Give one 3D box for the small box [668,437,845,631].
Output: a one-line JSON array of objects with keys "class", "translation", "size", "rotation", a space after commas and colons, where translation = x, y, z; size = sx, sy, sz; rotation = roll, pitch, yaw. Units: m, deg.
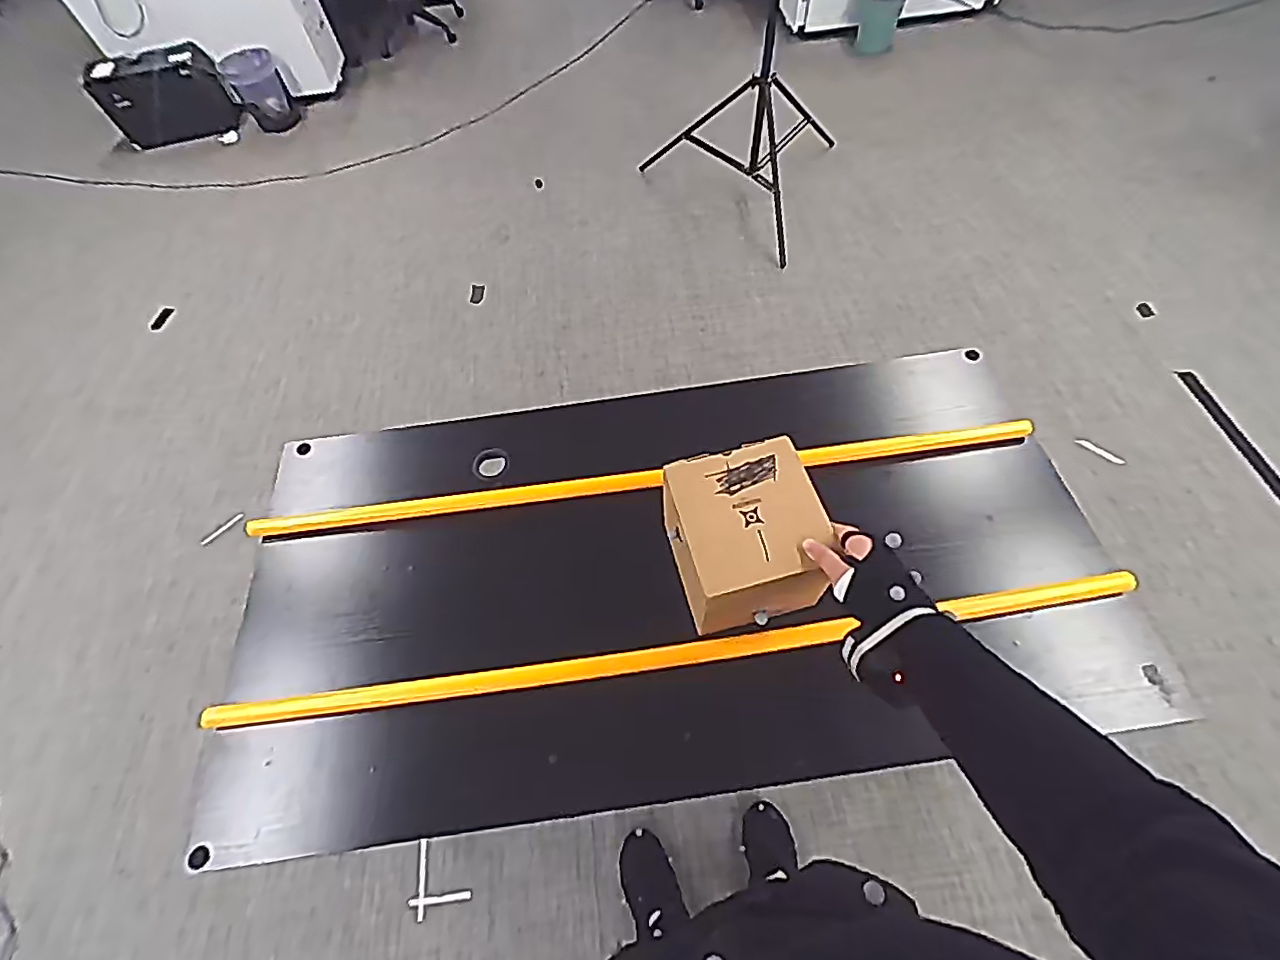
[{"class": "small box", "translation": [0.134, 0.075, 0.703], "size": [0.168, 0.176, 0.179], "rotation": [-14, 61, -4]}]
